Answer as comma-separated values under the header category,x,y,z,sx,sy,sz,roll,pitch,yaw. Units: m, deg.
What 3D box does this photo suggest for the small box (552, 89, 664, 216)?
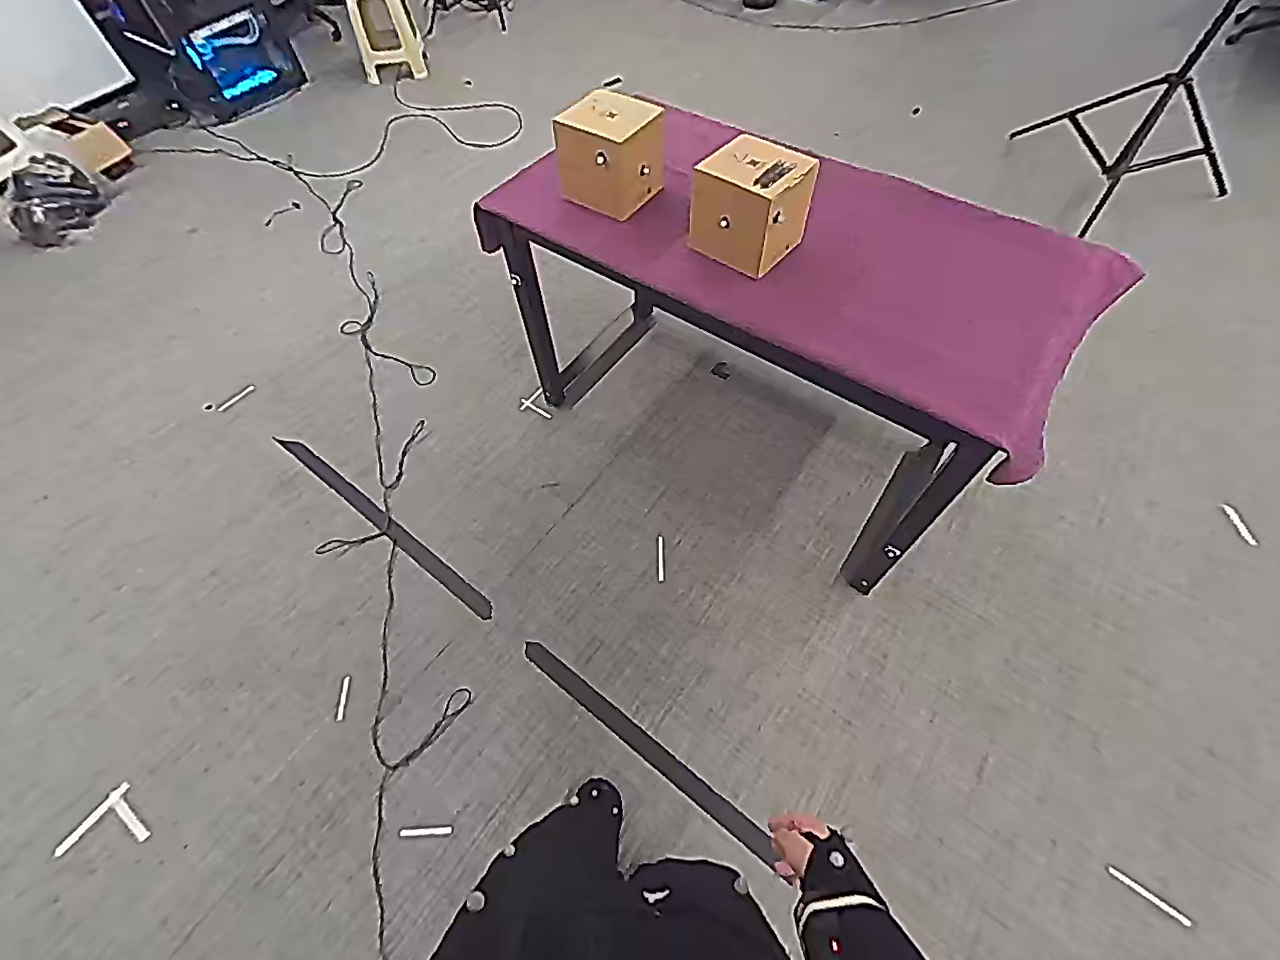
category,x,y,z,sx,sy,sz,roll,pitch,yaw
small box,-0.063,-0.708,1.180,0.179,0.176,0.168,29,62,18
